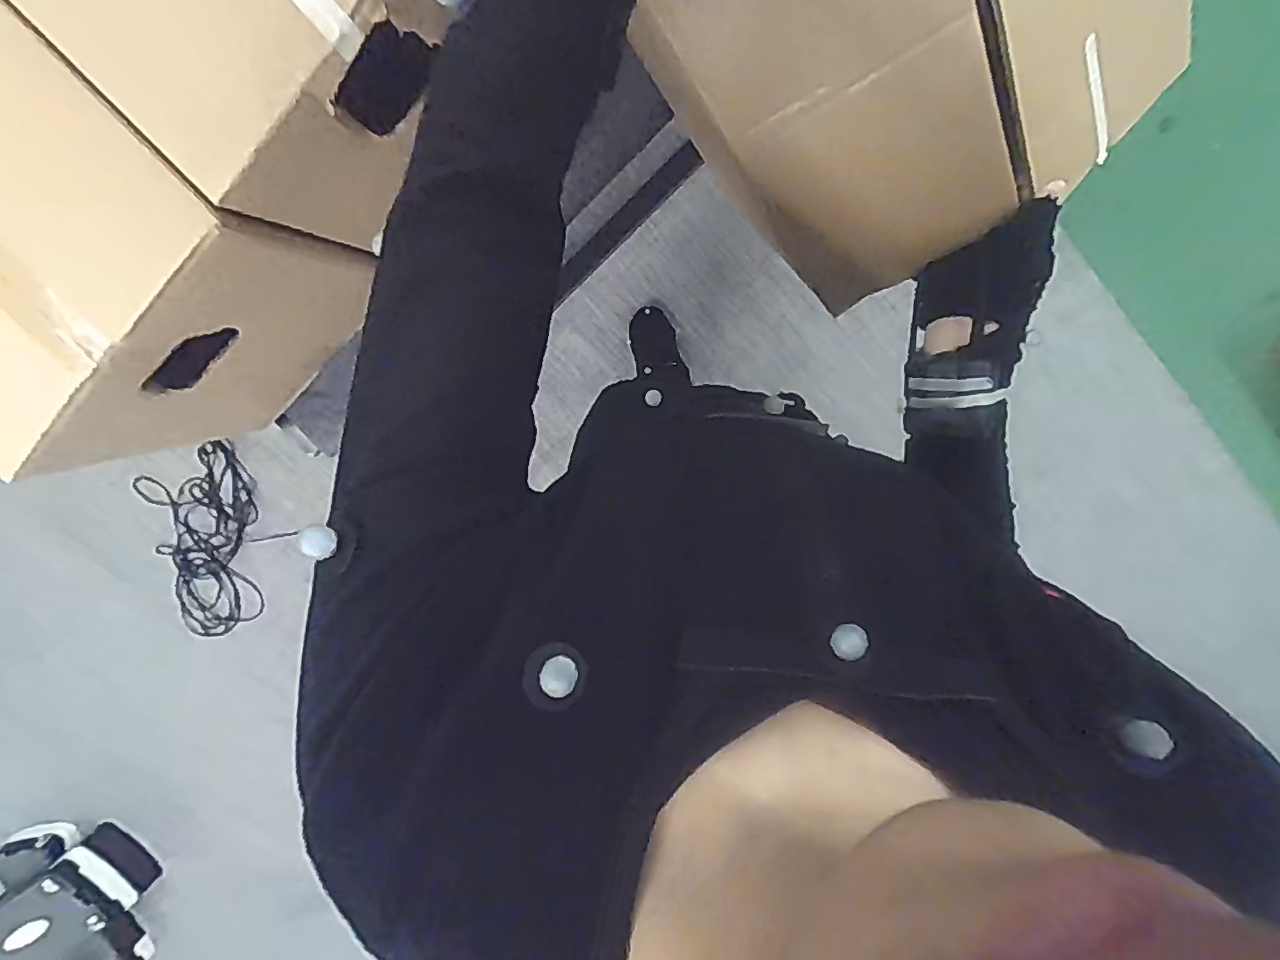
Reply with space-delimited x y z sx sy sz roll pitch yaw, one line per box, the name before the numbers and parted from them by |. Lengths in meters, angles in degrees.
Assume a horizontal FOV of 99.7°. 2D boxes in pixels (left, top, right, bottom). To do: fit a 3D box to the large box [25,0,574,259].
large box | -0.325 -0.482 0.494 0.320 0.320 0.408 -42 99 13
